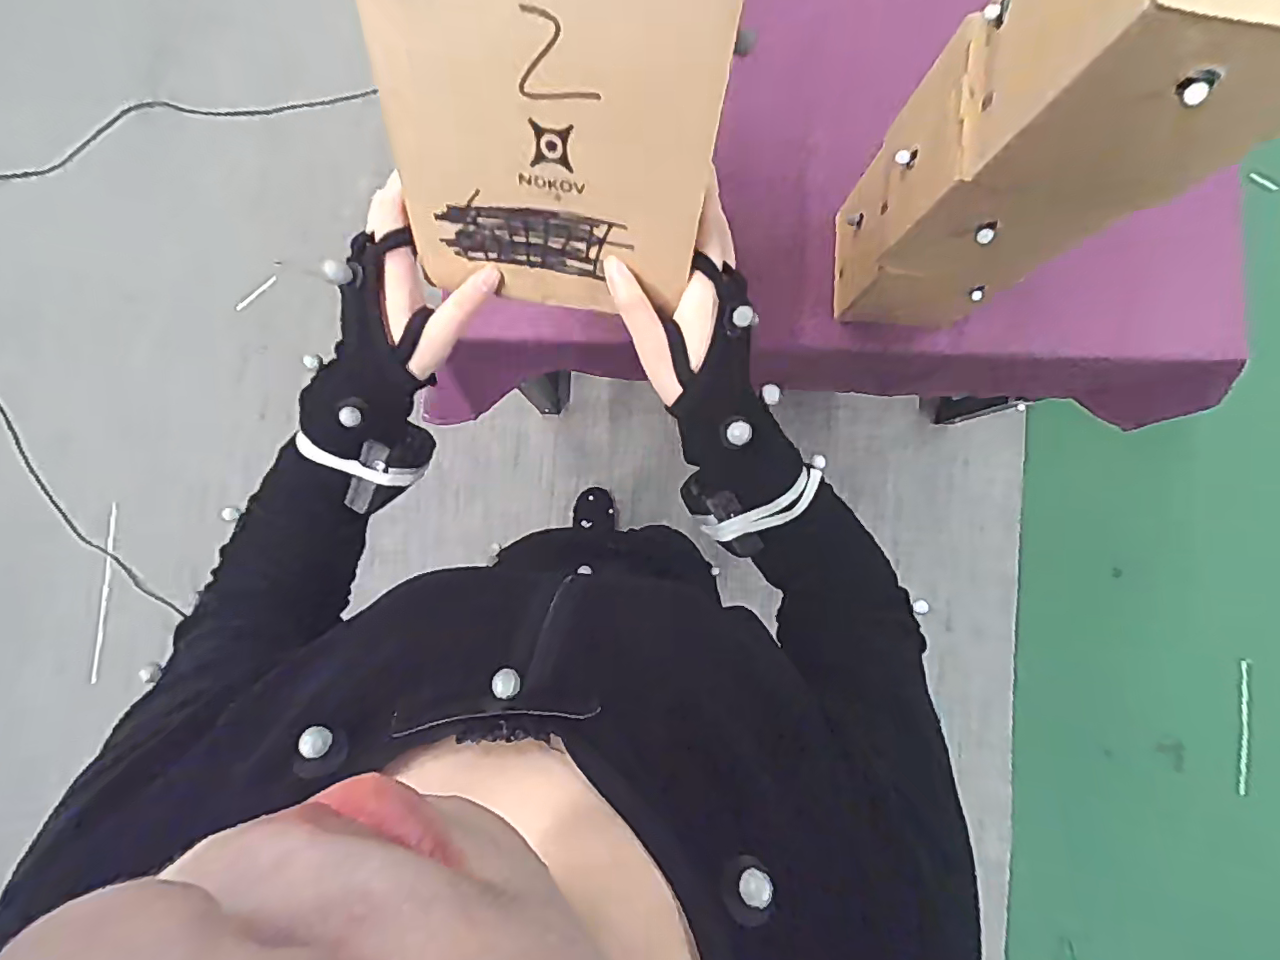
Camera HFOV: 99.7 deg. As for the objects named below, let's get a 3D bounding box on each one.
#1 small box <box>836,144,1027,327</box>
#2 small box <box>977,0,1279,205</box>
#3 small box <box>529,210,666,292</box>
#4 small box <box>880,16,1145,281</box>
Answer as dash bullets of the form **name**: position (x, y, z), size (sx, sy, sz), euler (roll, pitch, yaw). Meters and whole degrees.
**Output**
- **small box**: position (0.379, -0.316, 0.730), size (0.179, 0.176, 0.168), euler (3, 87, -1)
- **small box**: position (0.388, -0.334, 0.401), size (0.179, 0.176, 0.168), euler (7, 87, -2)
- **small box**: position (-0.045, -0.369, 0.723), size (0.168, 0.176, 0.179), euler (5, 87, -1)
- **small box**: position (0.375, -0.326, 0.566), size (0.179, 0.176, 0.168), euler (7, 87, 0)
